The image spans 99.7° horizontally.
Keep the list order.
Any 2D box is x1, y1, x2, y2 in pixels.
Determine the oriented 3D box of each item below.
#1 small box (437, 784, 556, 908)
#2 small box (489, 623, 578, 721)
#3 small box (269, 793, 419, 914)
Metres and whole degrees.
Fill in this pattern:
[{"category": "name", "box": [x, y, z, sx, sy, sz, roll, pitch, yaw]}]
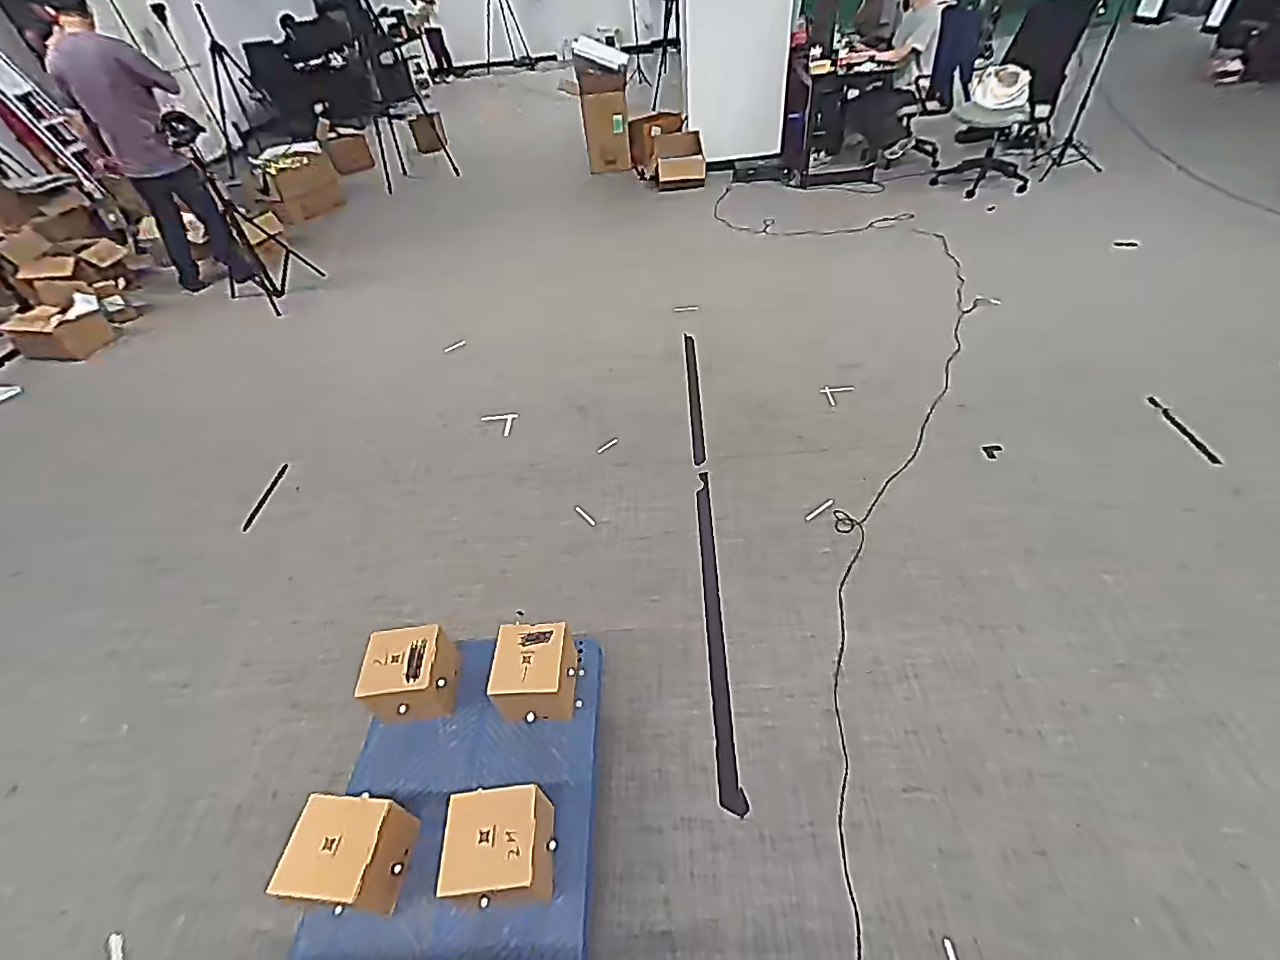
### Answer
[{"category": "small box", "box": [-0.273, 0.725, 1.068, 0.179, 0.176, 0.168, -7, 45, 1]}, {"category": "small box", "box": [-0.250, 0.469, 1.322, 0.168, 0.176, 0.179, -3, 46, 5]}, {"category": "small box", "box": [-0.579, 0.751, 1.085, 0.179, 0.176, 0.168, 1, 44, 6]}]
